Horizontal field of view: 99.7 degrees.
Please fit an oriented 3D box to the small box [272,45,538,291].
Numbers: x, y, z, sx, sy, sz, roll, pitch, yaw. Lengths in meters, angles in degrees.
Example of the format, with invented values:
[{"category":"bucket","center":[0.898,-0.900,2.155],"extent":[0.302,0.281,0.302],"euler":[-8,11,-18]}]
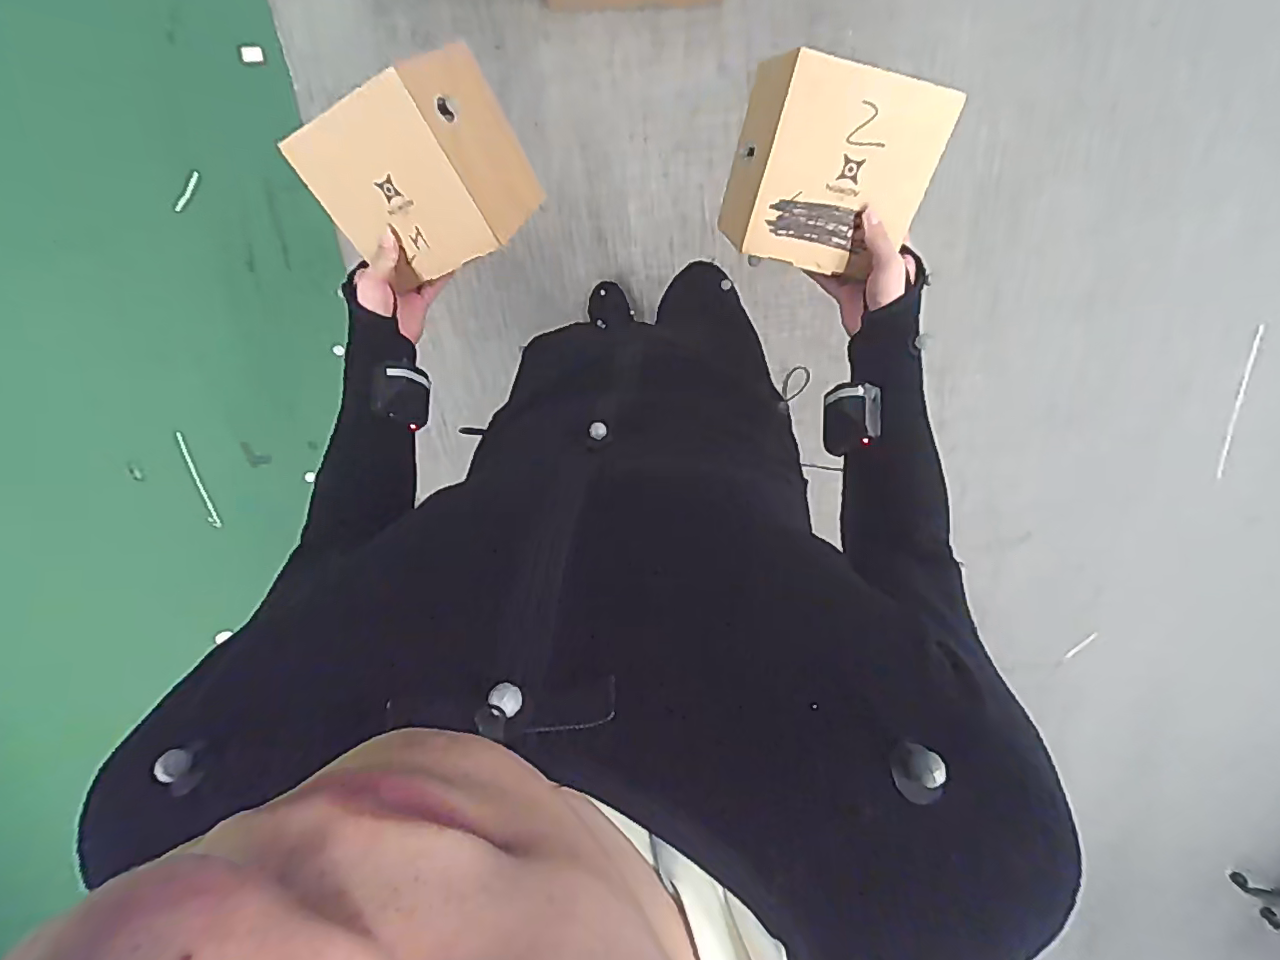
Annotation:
[{"category":"small box","center":[-0.242,-0.349,0.604],"extent":[0.168,0.176,0.179],"euler":[-11,132,23]}]
